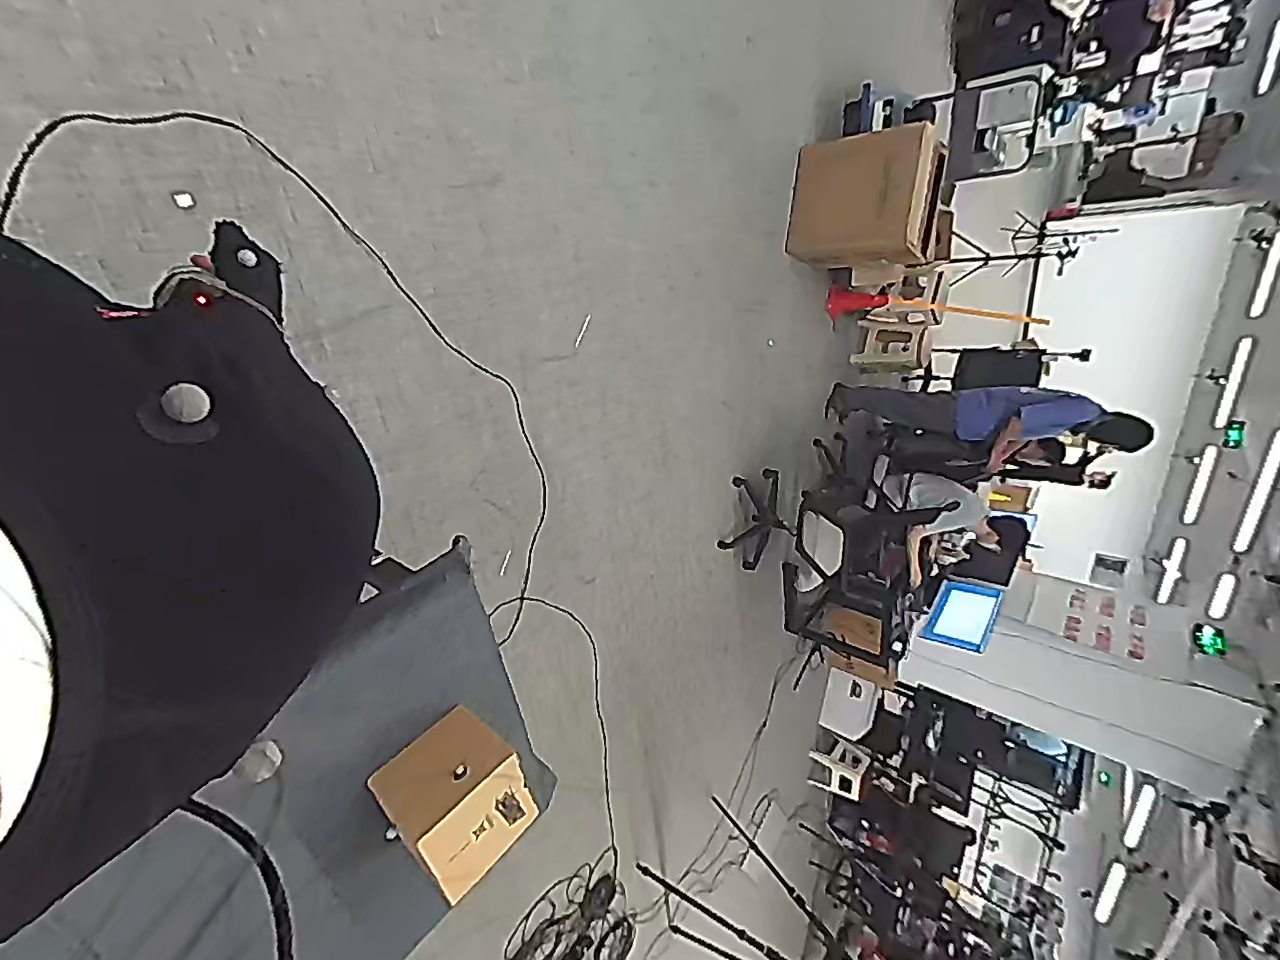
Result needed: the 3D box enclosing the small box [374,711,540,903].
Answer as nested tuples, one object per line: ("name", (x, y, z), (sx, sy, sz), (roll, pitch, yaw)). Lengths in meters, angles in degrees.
("small box", (-0.299, 0.523, 0.893), (0.179, 0.176, 0.168), (-34, 125, -39))
